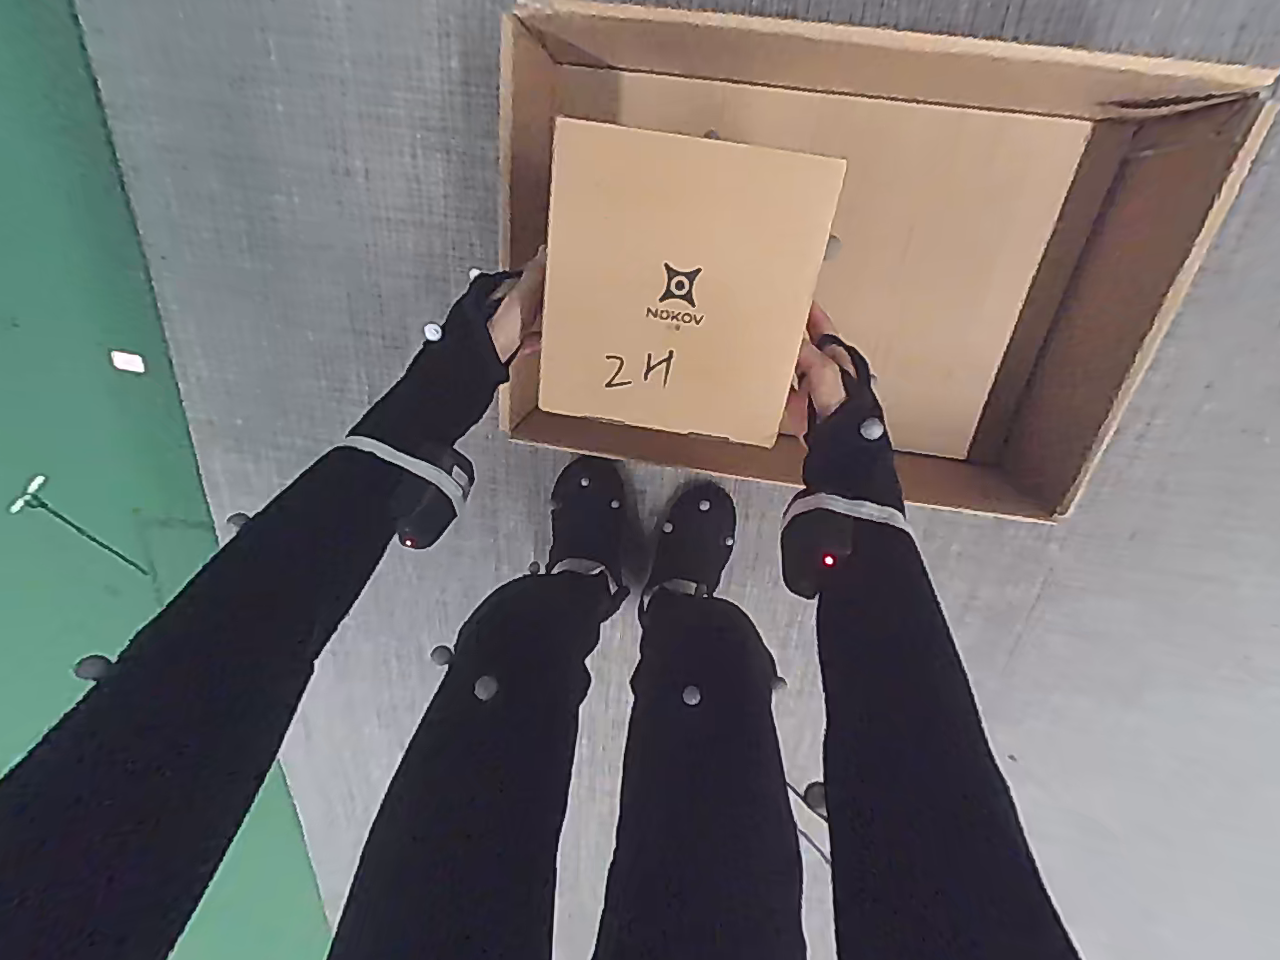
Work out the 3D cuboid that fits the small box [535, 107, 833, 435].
[{"bbox_3d":[0.026,-0.155,0.416,0.168,0.176,0.179,10,115,2],"label":"small box"}]
